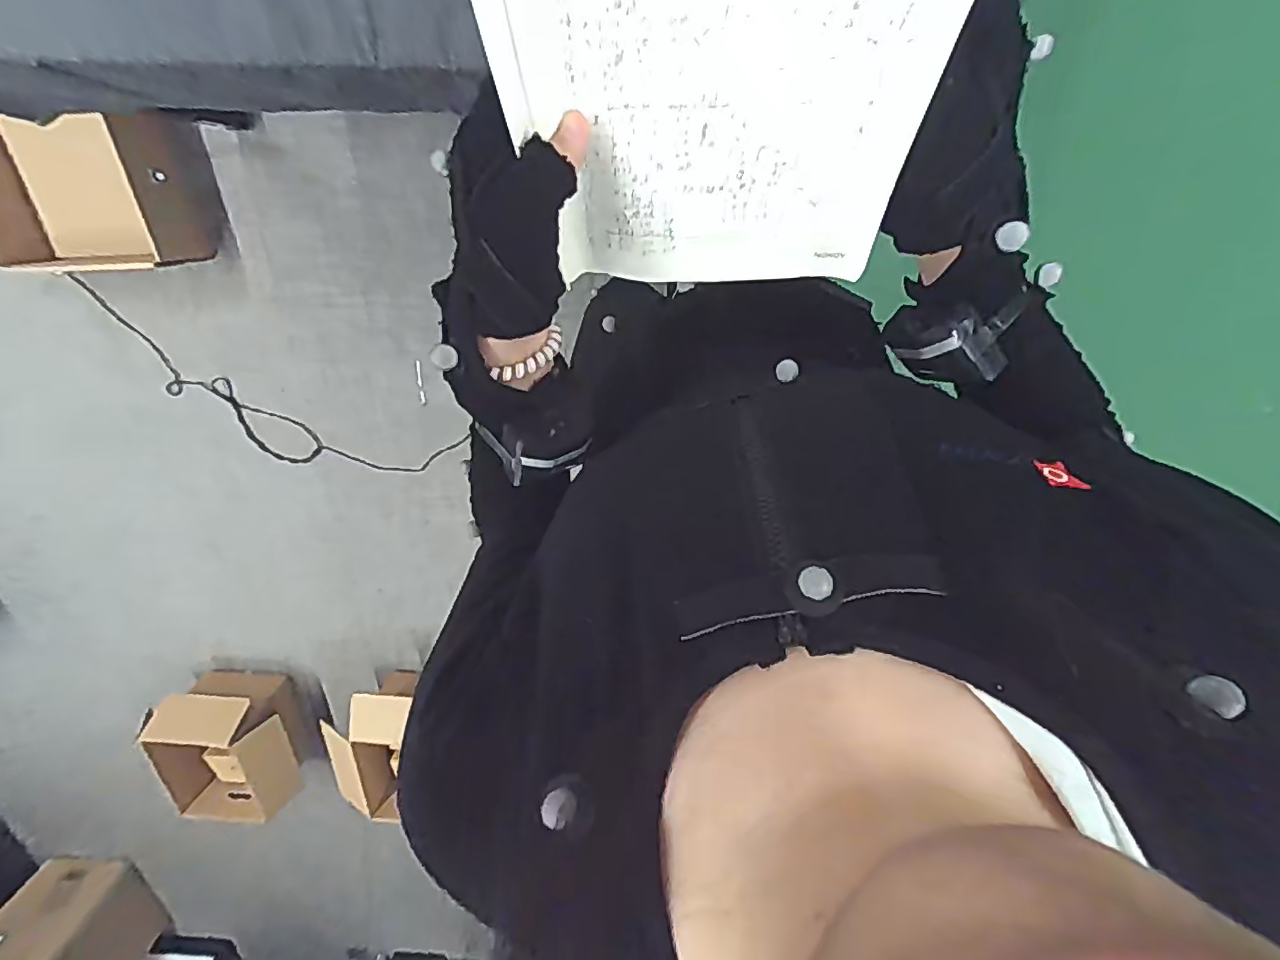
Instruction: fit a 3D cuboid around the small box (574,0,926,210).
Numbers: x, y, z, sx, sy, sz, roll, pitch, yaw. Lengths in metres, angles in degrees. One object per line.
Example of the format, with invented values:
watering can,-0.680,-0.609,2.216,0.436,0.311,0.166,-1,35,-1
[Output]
small box,0.049,-0.281,0.310,0.168,0.176,0.179,-8,129,7
